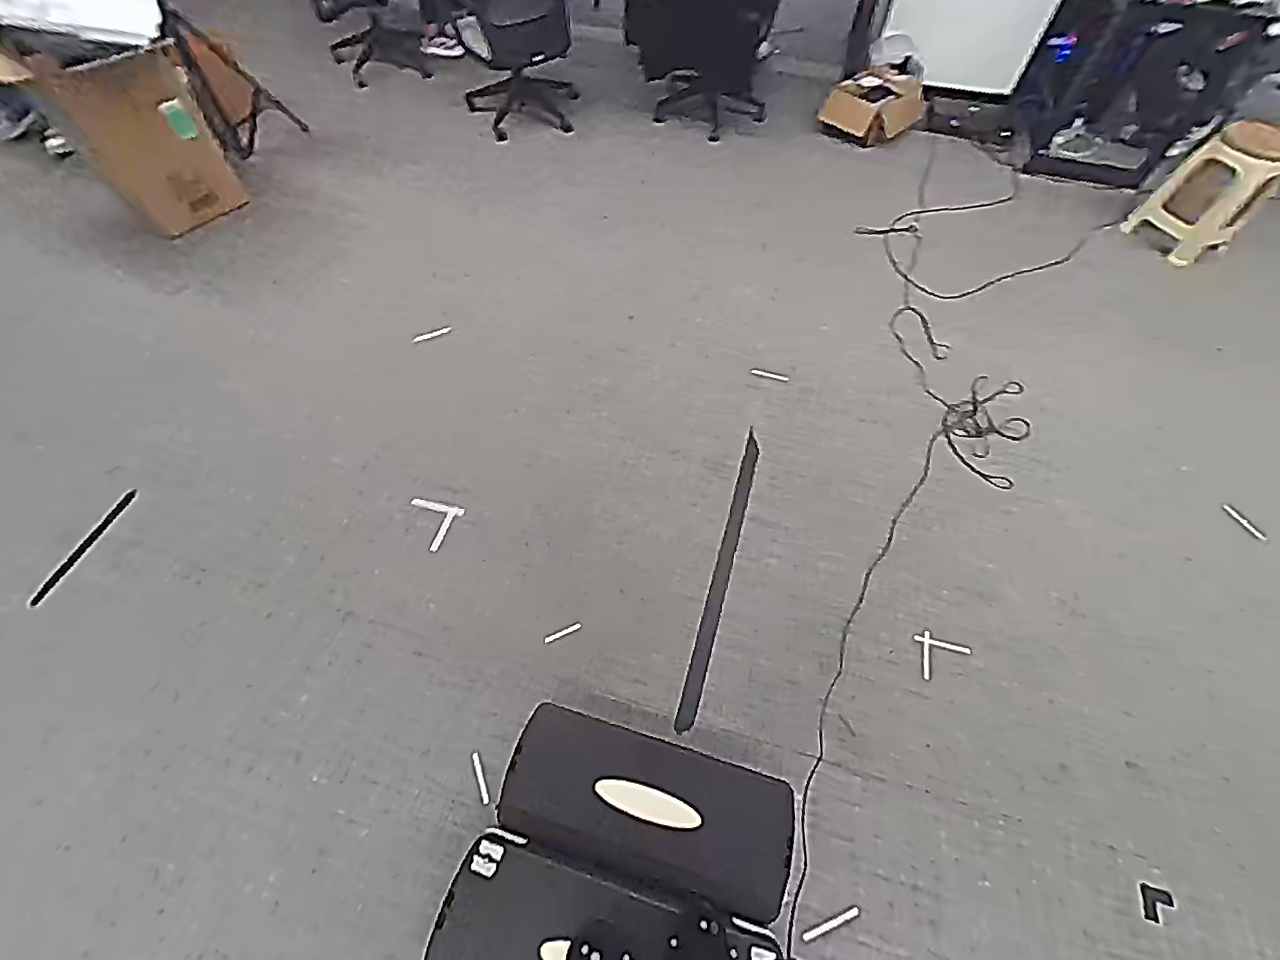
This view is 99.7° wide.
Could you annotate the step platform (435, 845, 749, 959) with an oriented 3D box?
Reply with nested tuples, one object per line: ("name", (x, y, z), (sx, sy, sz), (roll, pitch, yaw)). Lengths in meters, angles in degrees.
("step platform", (-0.059, 0.998, 1.046), (0.684, 0.204, 0.286), (17, 57, 12))
